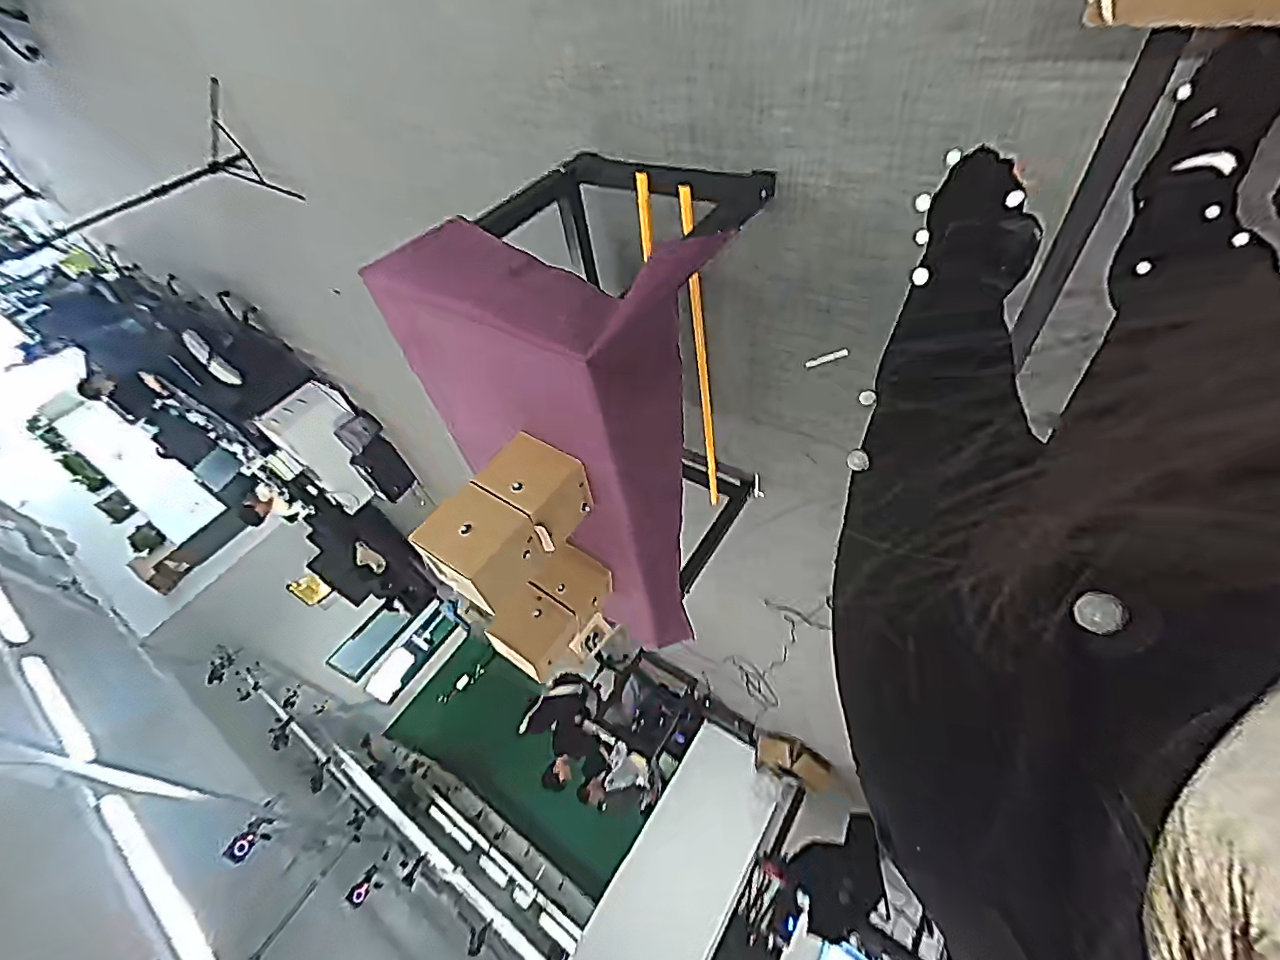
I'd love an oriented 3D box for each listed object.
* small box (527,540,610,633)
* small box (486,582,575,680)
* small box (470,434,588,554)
[{"bbox_3d":[-0.198,0.304,1.560,0.179,0.176,0.168,30,150,17],"label":"small box"},{"bbox_3d":[-0.291,0.412,1.479,0.168,0.176,0.179,30,150,15],"label":"small box"},{"bbox_3d":[-0.231,0.026,1.189,0.179,0.176,0.168,27,150,24],"label":"small box"}]
